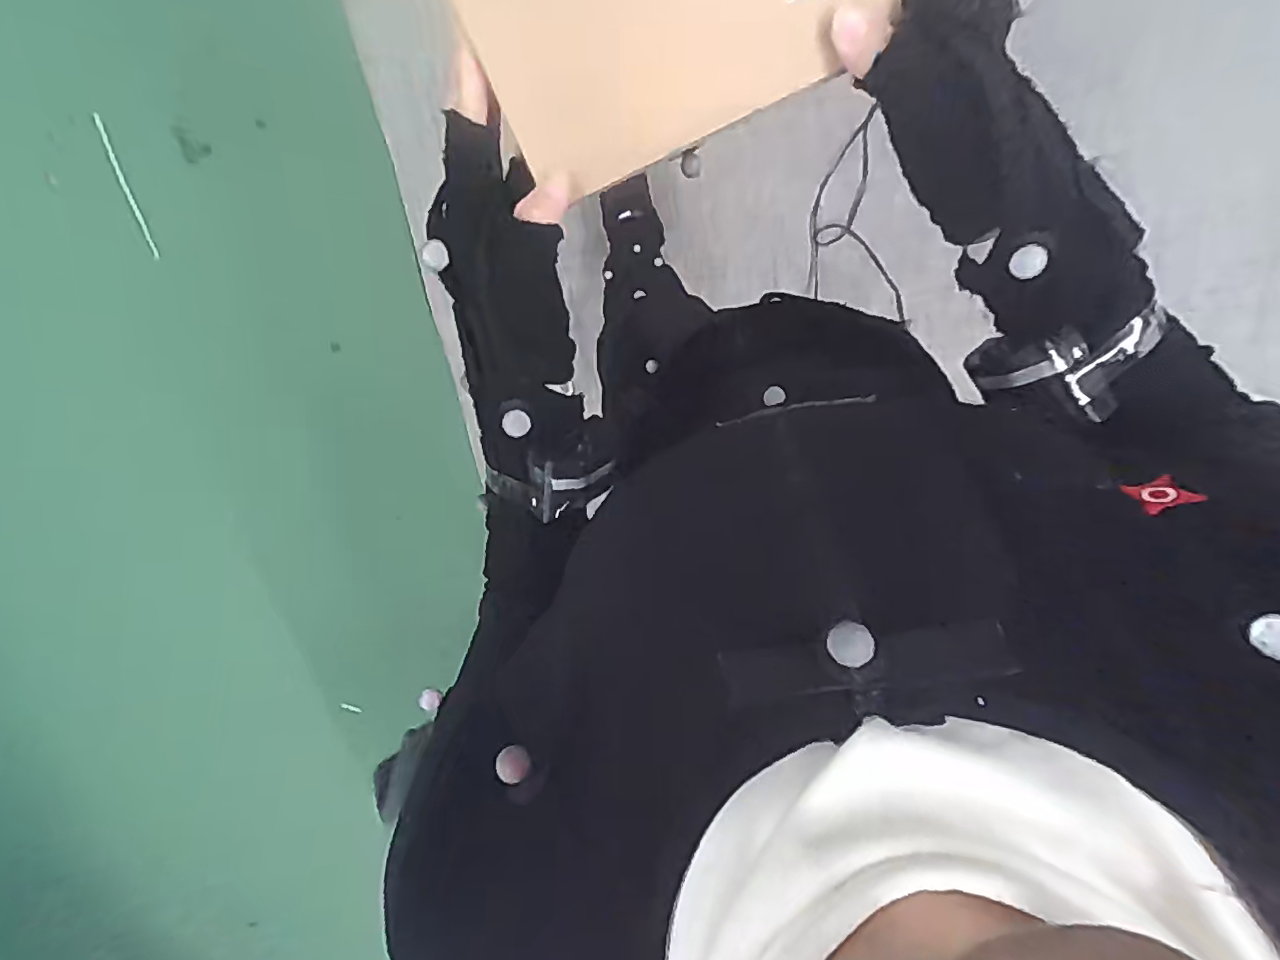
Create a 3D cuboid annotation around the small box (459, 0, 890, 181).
[{"bbox_3d":[0.000,-0.274,0.280,0.179,0.176,0.168,-18,117,8],"label":"small box"}]
